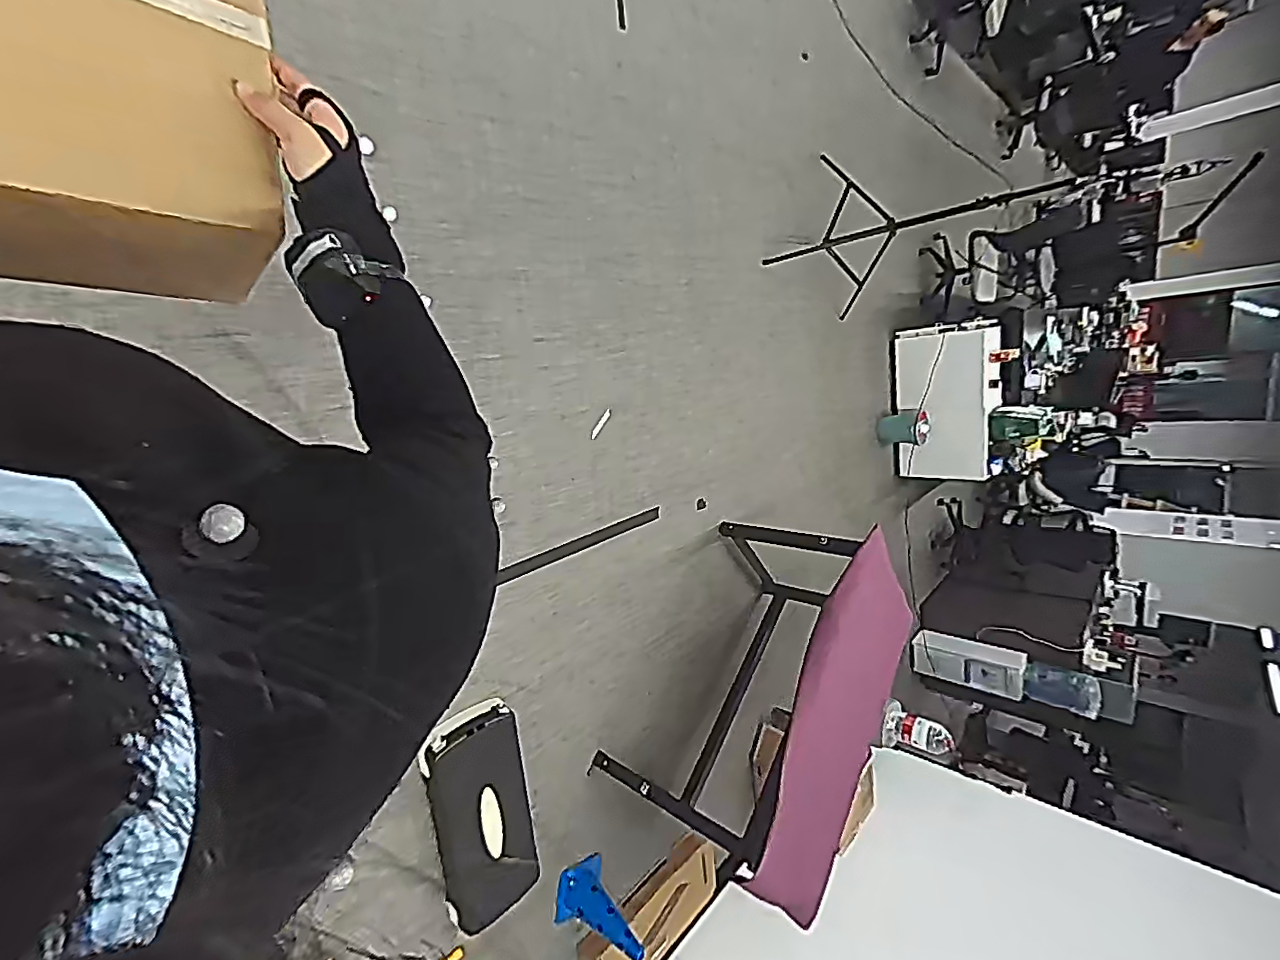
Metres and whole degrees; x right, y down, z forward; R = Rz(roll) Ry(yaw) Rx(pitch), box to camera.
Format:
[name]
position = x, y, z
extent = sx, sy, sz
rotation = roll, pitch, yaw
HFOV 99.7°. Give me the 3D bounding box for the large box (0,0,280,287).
[large box]
position = -0.565, -0.363, 0.435
extent = 0.408, 0.320, 0.320
rotation = -7, 97, -42
